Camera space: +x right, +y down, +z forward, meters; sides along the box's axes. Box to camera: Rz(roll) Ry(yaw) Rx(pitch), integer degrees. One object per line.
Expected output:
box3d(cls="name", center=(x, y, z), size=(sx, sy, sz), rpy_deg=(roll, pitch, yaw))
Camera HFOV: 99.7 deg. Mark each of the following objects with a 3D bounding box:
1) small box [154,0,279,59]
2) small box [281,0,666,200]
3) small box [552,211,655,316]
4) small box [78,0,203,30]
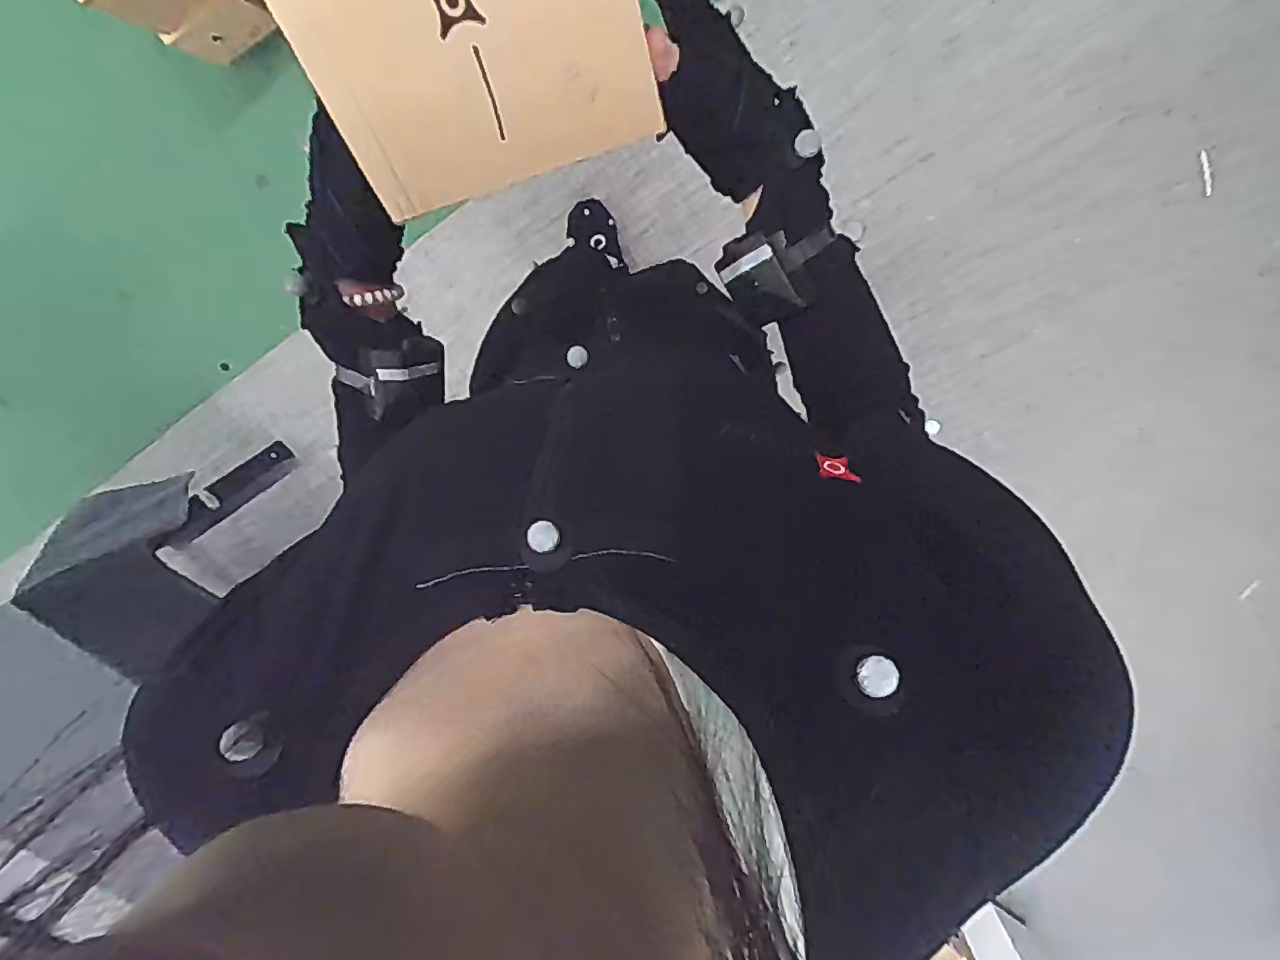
box3d(cls="small box", center=(-0.843, -0.941, 1.024), size=(0.168, 0.176, 0.179), rpy_deg=(-25, 113, 11))
box3d(cls="small box", center=(-0.090, -0.290, 0.300), size=(0.168, 0.176, 0.179), rpy_deg=(-14, 132, 8))
box3d(cls="small box", center=(-0.090, -0.510, 1.268), size=(0.179, 0.176, 0.168), rpy_deg=(29, 124, 2))
box3d(cls="small box", center=(-0.838, -0.881, 0.870), size=(0.179, 0.176, 0.168), rpy_deg=(-26, 113, 11))
